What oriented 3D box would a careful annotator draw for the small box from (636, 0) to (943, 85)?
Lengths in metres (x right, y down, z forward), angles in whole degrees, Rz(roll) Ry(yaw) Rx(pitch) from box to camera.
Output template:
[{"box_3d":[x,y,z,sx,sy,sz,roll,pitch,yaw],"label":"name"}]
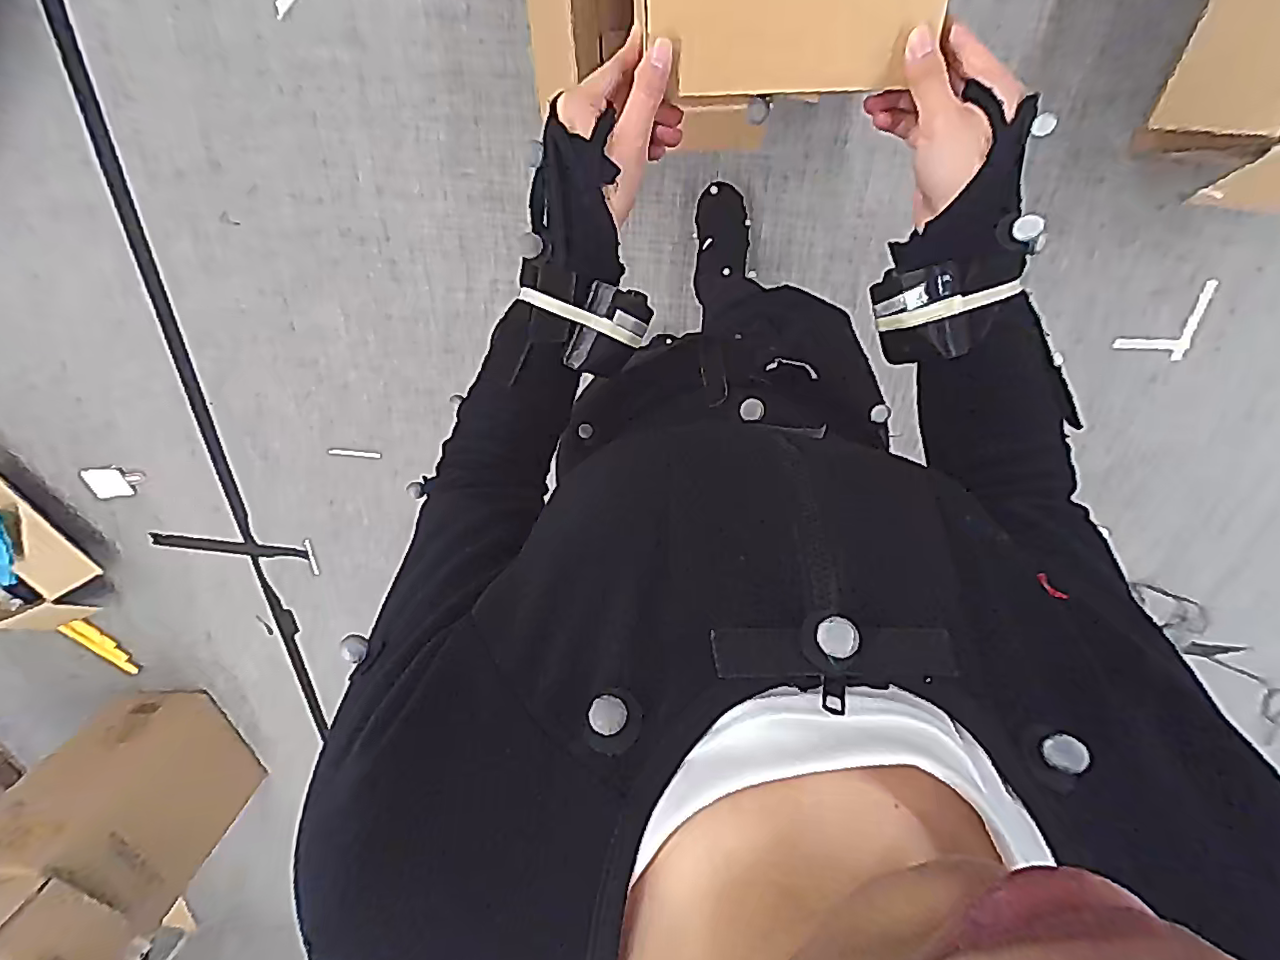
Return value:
[{"box_3d":[0.086,-0.358,0.346,0.179,0.176,0.168,-2,126,1],"label":"small box"}]
